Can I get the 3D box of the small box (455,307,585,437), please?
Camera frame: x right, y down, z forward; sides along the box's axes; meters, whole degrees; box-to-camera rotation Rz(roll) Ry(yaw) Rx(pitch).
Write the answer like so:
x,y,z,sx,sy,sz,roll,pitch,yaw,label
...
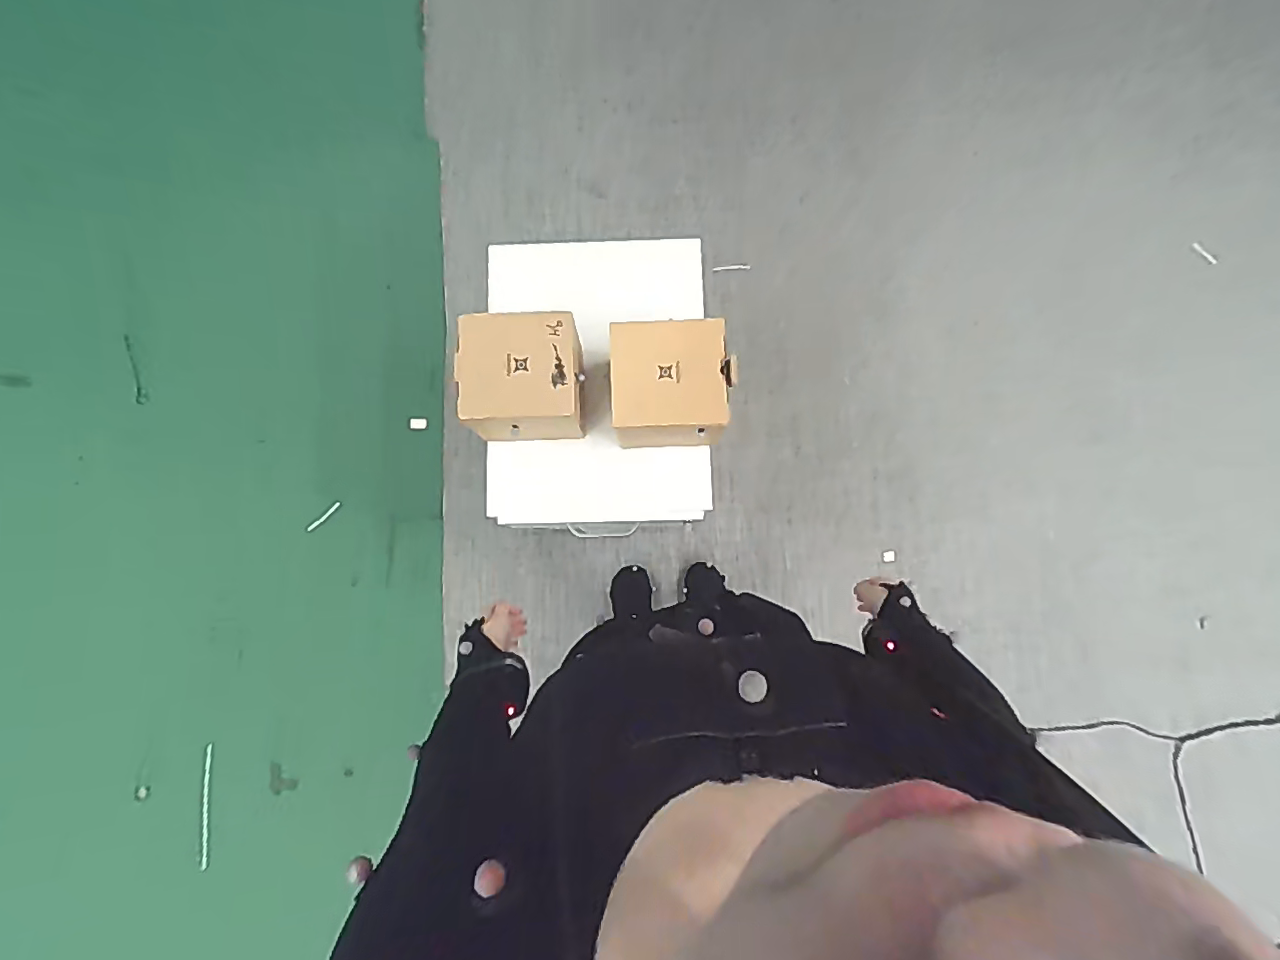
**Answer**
x,y,z,sx,sy,sz,roll,pitch,yaw,label
-0.187,-0.167,0.882,0.179,0.176,0.168,-2,84,0,small box
